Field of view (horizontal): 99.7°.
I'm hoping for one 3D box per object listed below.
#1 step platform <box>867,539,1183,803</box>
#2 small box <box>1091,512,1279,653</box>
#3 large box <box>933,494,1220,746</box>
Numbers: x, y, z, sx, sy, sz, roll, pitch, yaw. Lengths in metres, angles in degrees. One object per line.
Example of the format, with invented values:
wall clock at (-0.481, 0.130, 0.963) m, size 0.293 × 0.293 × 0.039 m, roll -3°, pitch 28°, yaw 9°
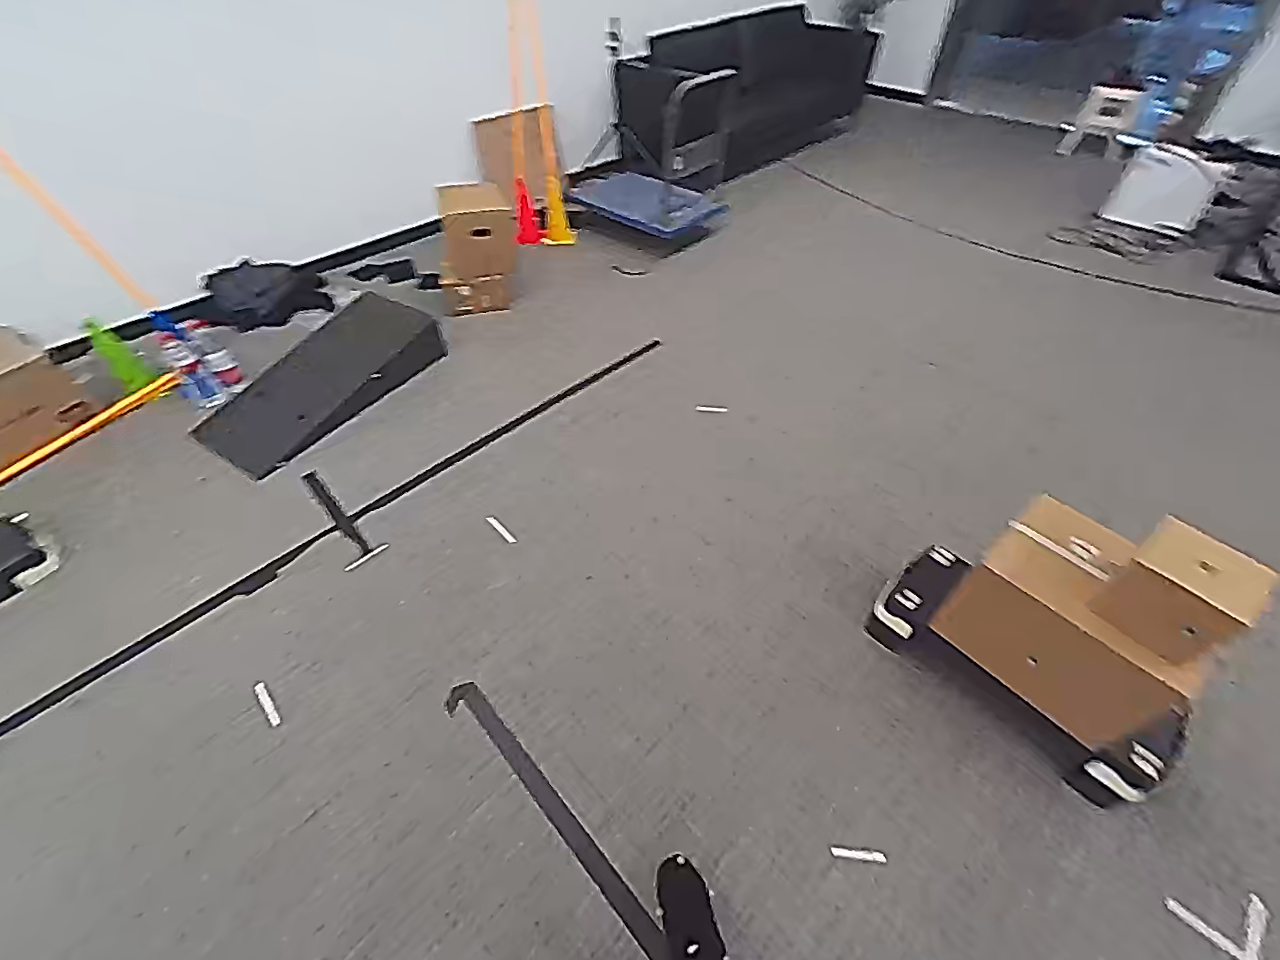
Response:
step platform at (0.976, 0.462, 1.438) m, size 0.286 × 0.204 × 0.684 m, roll -31°, pitch 53°, yaw -24°
small box at (1.022, 0.200, 1.020) m, size 0.168 × 0.176 × 0.179 m, roll -30°, pitch 53°, yaw -24°
large box at (0.991, 0.312, 1.251) m, size 0.320 × 0.320 × 0.408 m, roll -32°, pitch 53°, yaw -26°
